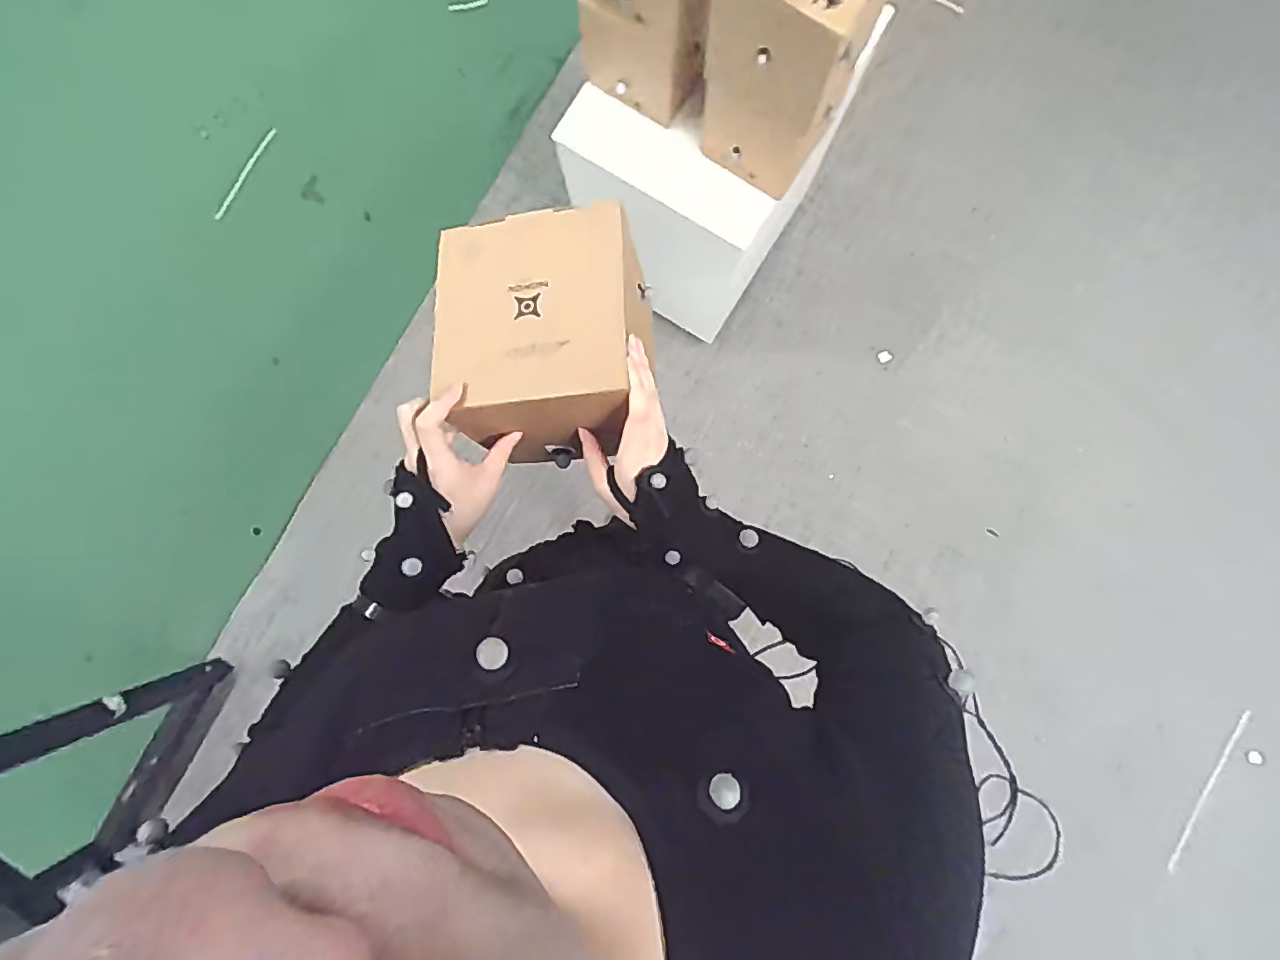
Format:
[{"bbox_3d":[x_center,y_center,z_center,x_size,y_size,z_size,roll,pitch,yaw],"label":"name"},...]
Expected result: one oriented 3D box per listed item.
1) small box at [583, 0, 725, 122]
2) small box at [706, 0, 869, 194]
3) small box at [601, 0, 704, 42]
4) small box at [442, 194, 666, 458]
[{"bbox_3d":[0.024,-0.734,0.864,0.168,0.176,0.179,32,90,2],"label":"small box"},{"bbox_3d":[0.217,-0.605,0.854,0.168,0.176,0.179,34,89,4],"label":"small box"},{"bbox_3d":[0.028,-0.741,0.700,0.168,0.176,0.179,33,89,2],"label":"small box"},{"bbox_3d":[-0.068,-0.132,0.522,0.168,0.176,0.179,-5,76,10],"label":"small box"}]
